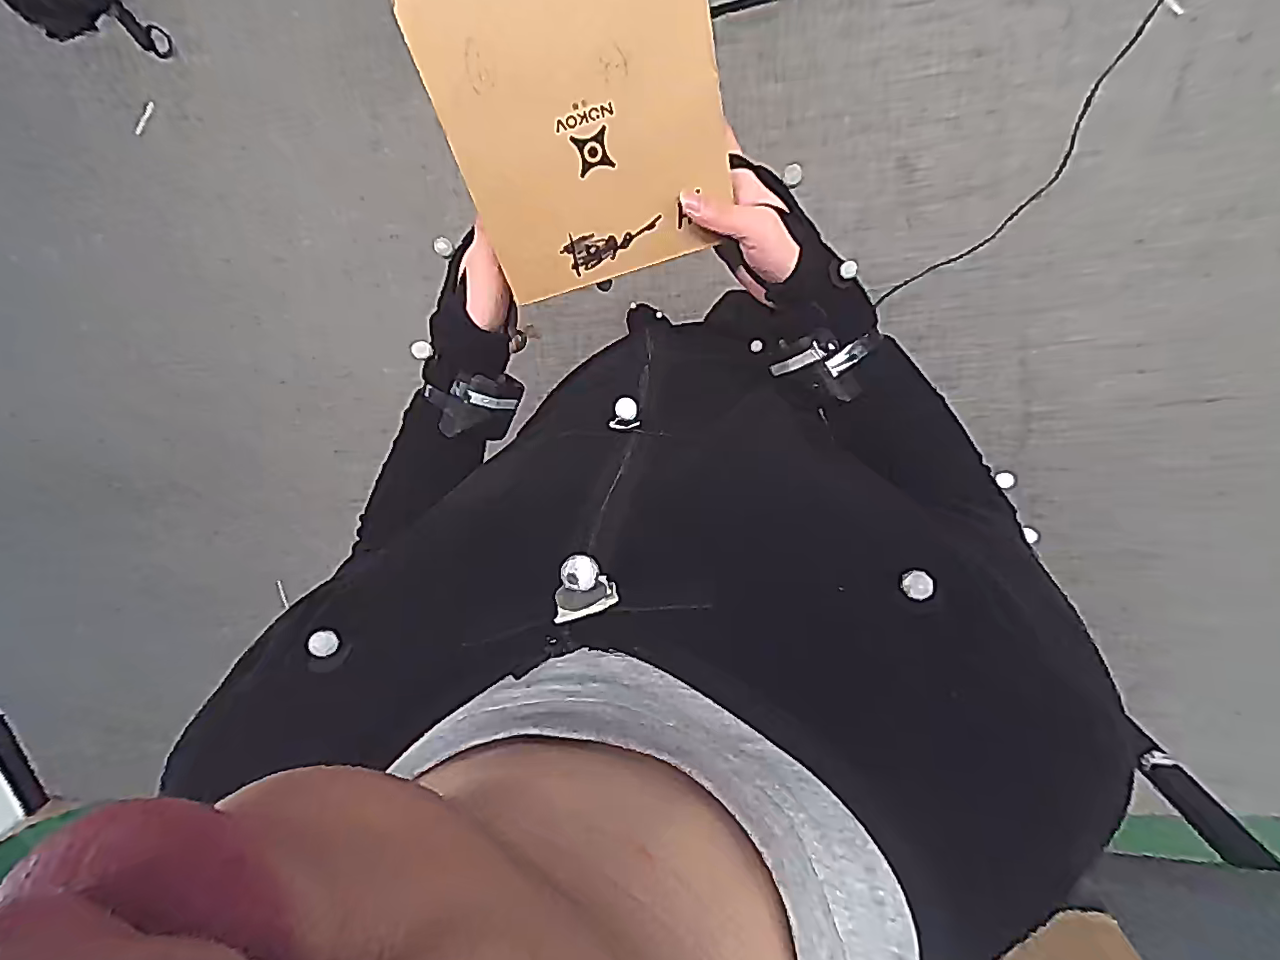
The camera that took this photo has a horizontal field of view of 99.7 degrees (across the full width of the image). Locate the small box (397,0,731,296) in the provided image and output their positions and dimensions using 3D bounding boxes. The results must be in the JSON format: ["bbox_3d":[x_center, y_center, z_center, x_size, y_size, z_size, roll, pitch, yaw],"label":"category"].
[{"bbox_3d":[-0.045,-0.266,0.392,0.168,0.176,0.179,-16,131,3],"label":"small box"}]
